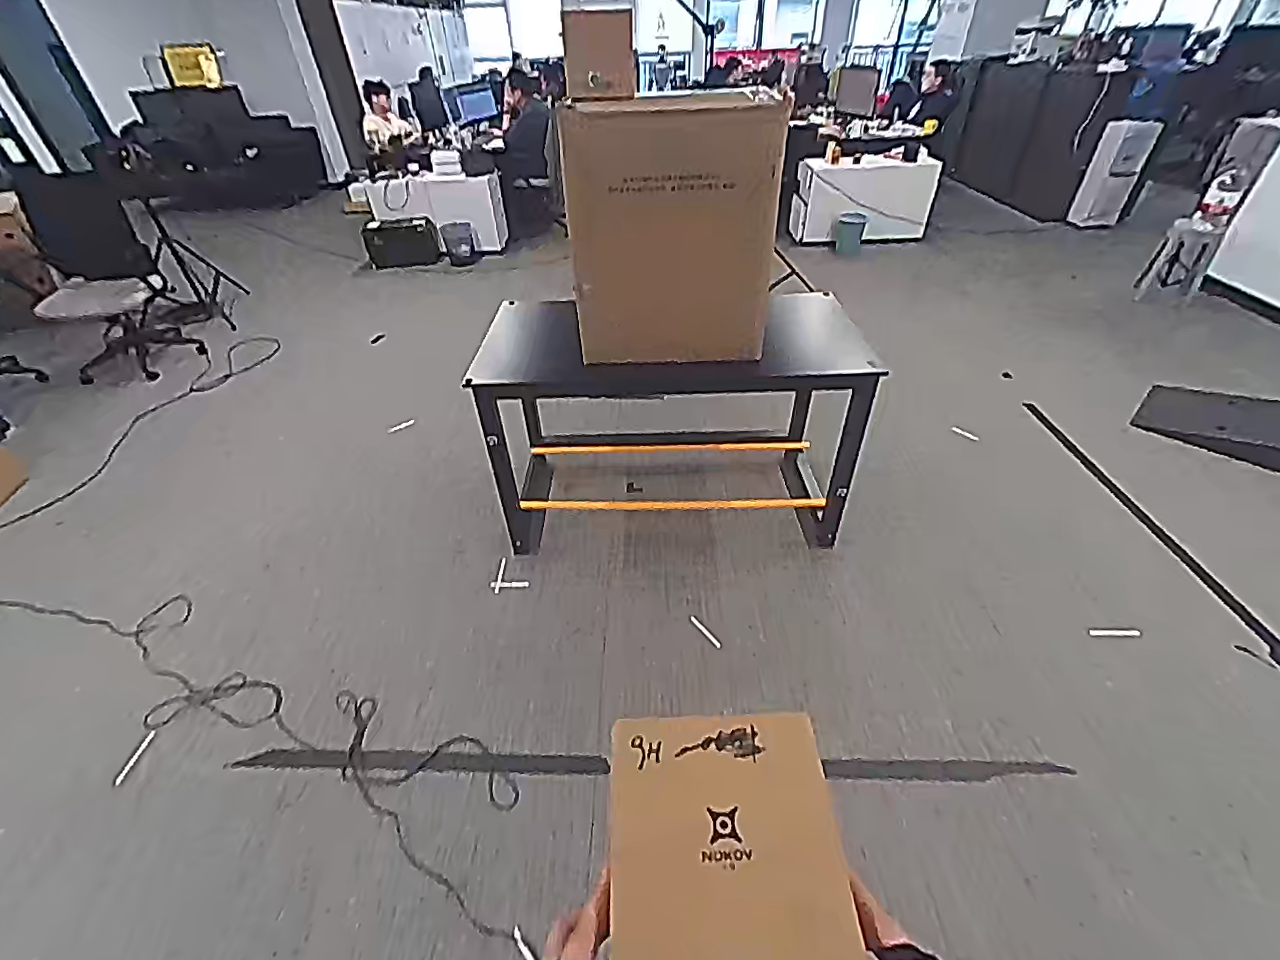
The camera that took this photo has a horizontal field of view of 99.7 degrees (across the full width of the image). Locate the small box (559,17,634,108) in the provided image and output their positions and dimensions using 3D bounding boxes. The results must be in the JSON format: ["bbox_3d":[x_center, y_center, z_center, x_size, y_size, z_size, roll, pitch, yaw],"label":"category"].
[{"bbox_3d":[-0.103,-1.024,1.332,0.168,0.176,0.179,-4,39,-1],"label":"small box"}]
